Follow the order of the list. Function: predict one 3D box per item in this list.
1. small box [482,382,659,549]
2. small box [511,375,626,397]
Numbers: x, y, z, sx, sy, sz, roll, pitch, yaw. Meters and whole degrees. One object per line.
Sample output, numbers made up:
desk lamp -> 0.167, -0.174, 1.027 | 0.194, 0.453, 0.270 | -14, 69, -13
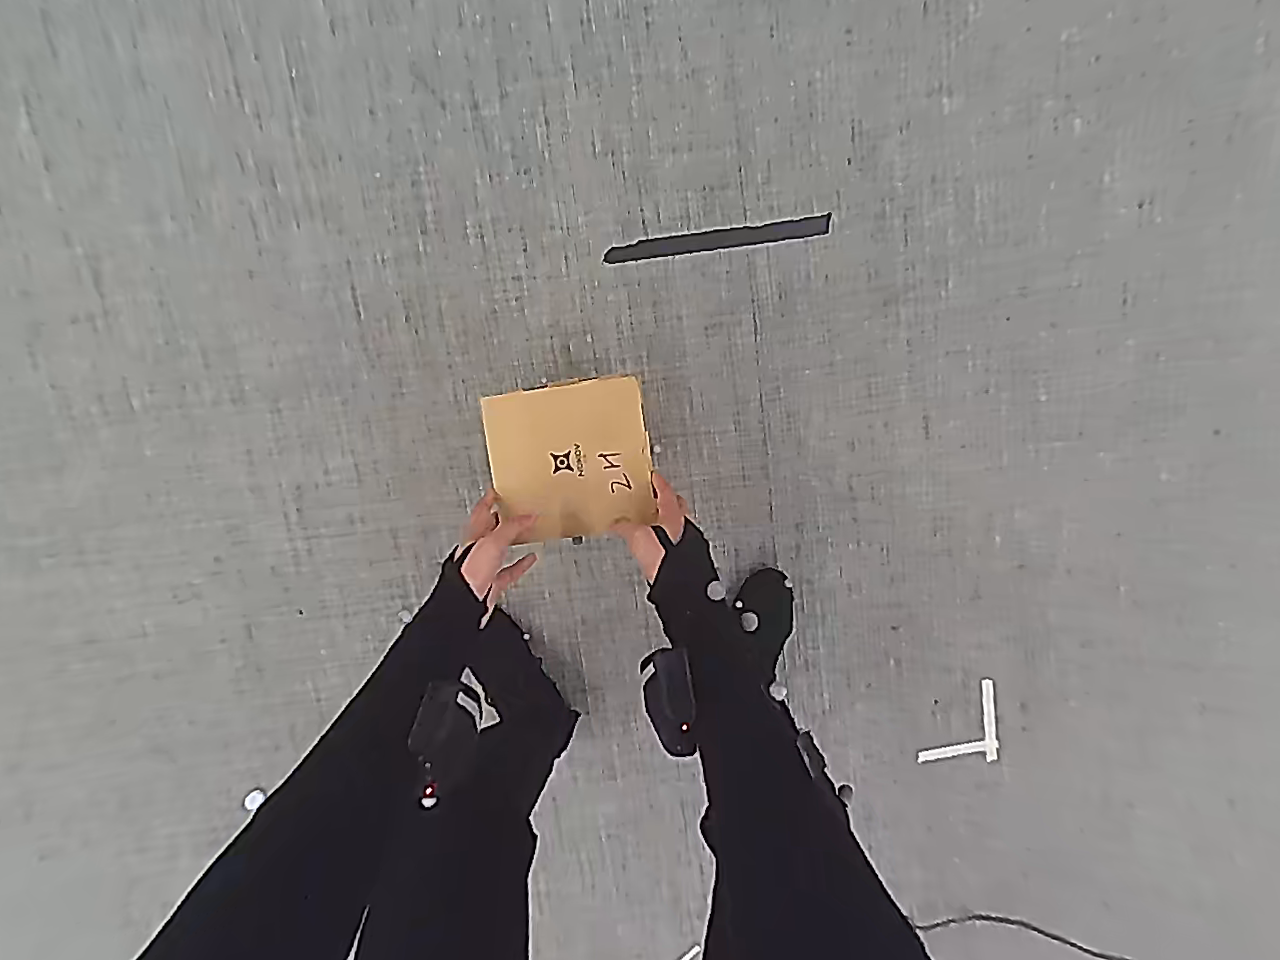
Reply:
small box -> -0.072, -0.020, 0.657 | 0.179, 0.176, 0.168 | -7, 95, 1
small box -> -0.091, -0.062, 0.843 | 0.168, 0.176, 0.179 | -10, 100, 1
